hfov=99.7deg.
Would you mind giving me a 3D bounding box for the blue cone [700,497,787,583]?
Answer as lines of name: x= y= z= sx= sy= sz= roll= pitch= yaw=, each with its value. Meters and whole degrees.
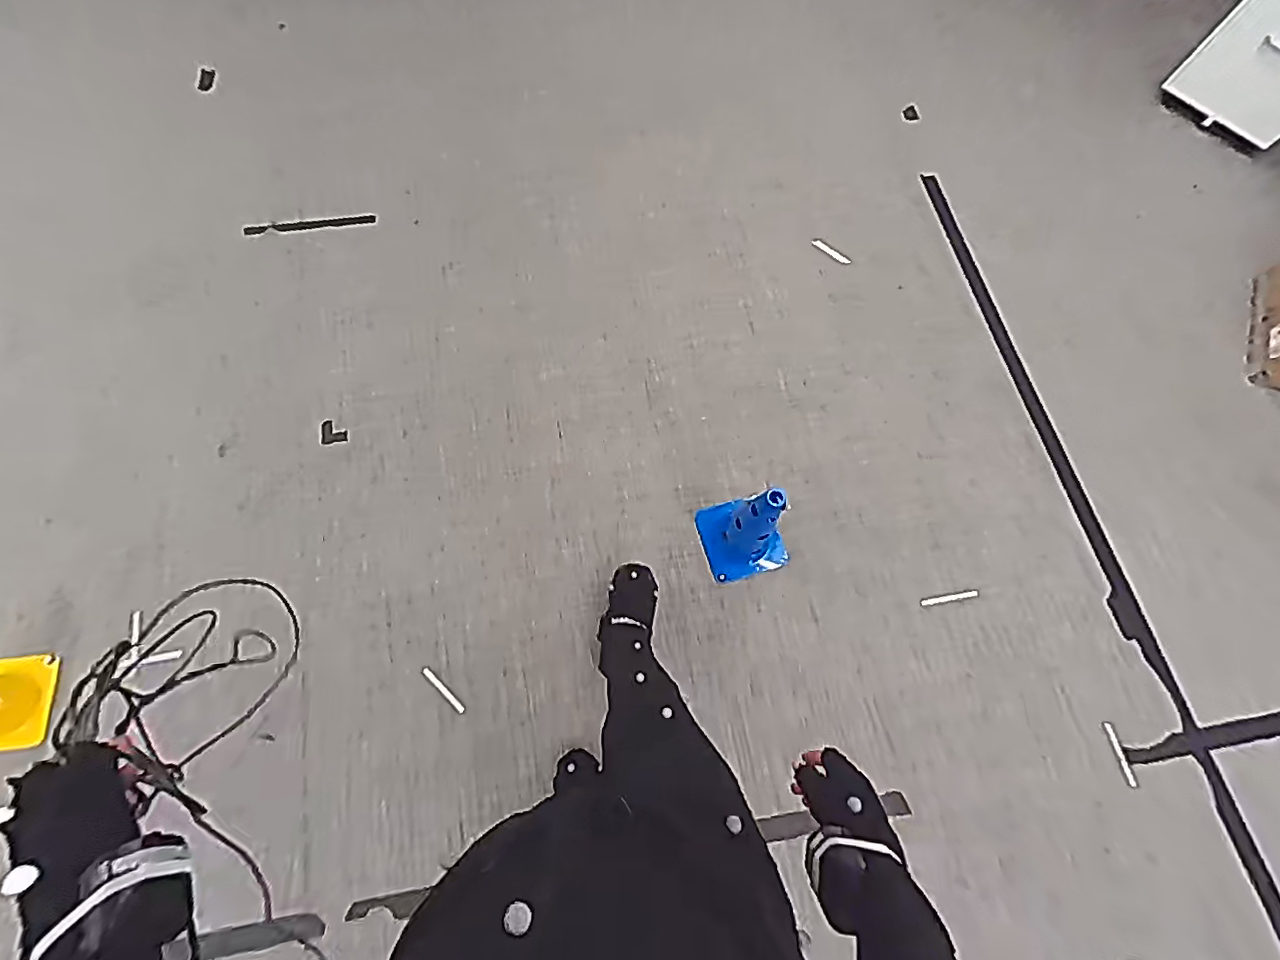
blue cone: x=0.263 y=0.100 z=1.231 sx=0.193 sy=0.380 sz=0.192 roll=-14 pitch=73 yaw=-6
